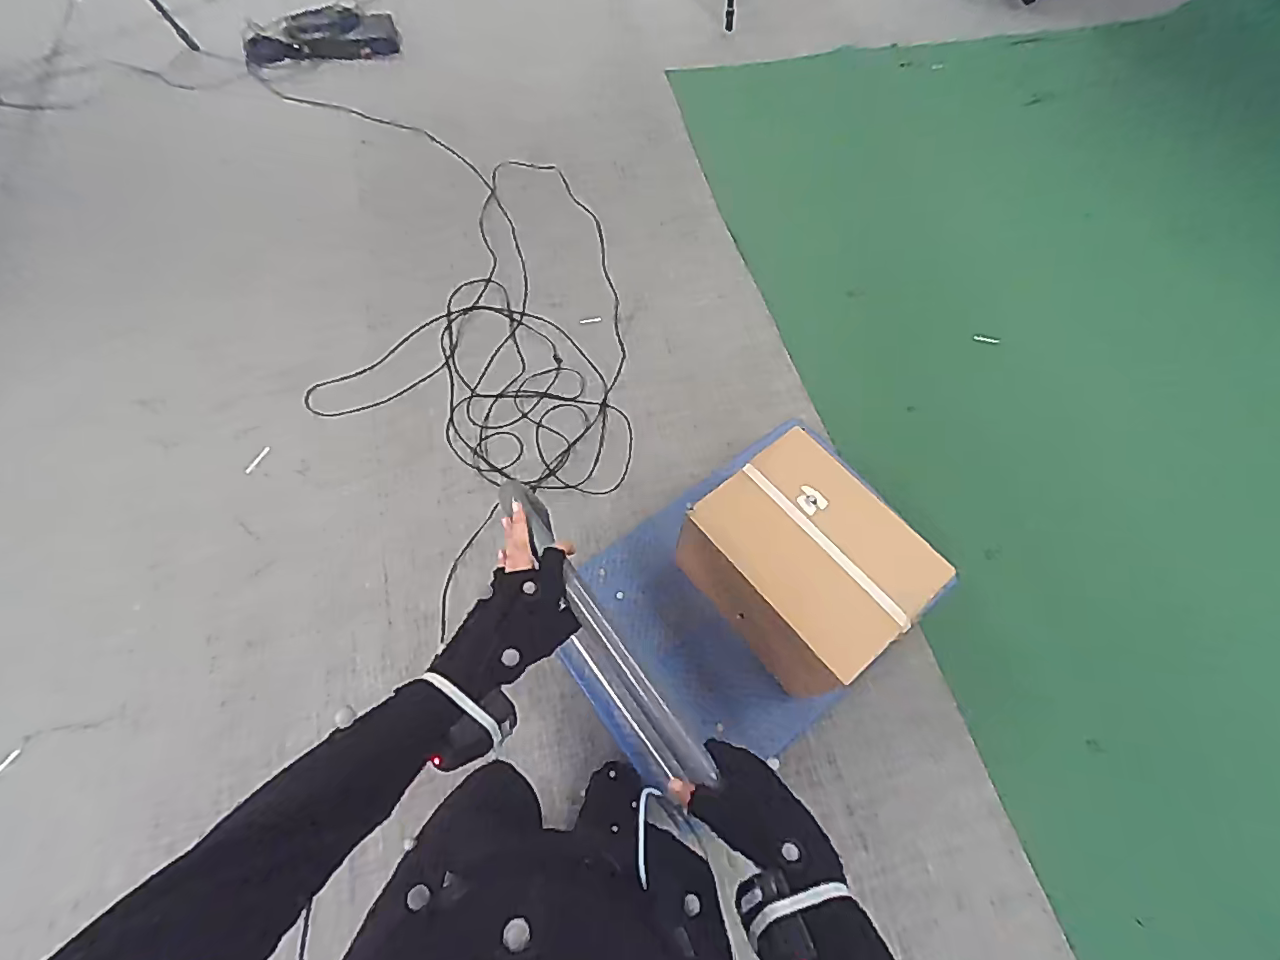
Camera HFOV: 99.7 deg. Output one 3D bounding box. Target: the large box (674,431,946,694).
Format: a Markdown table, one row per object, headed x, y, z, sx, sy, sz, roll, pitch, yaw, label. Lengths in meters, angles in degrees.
| x | y | z | sx | sy | sz | roll | pitch | yaw | label |
| --- | --- | --- | --- | --- | --- | --- | --- | --- | --- |
| 0.322 | 0.182 | 1.148 | 0.320 | 0.320 | 0.408 | -36 | 70 | -18 | large box |
